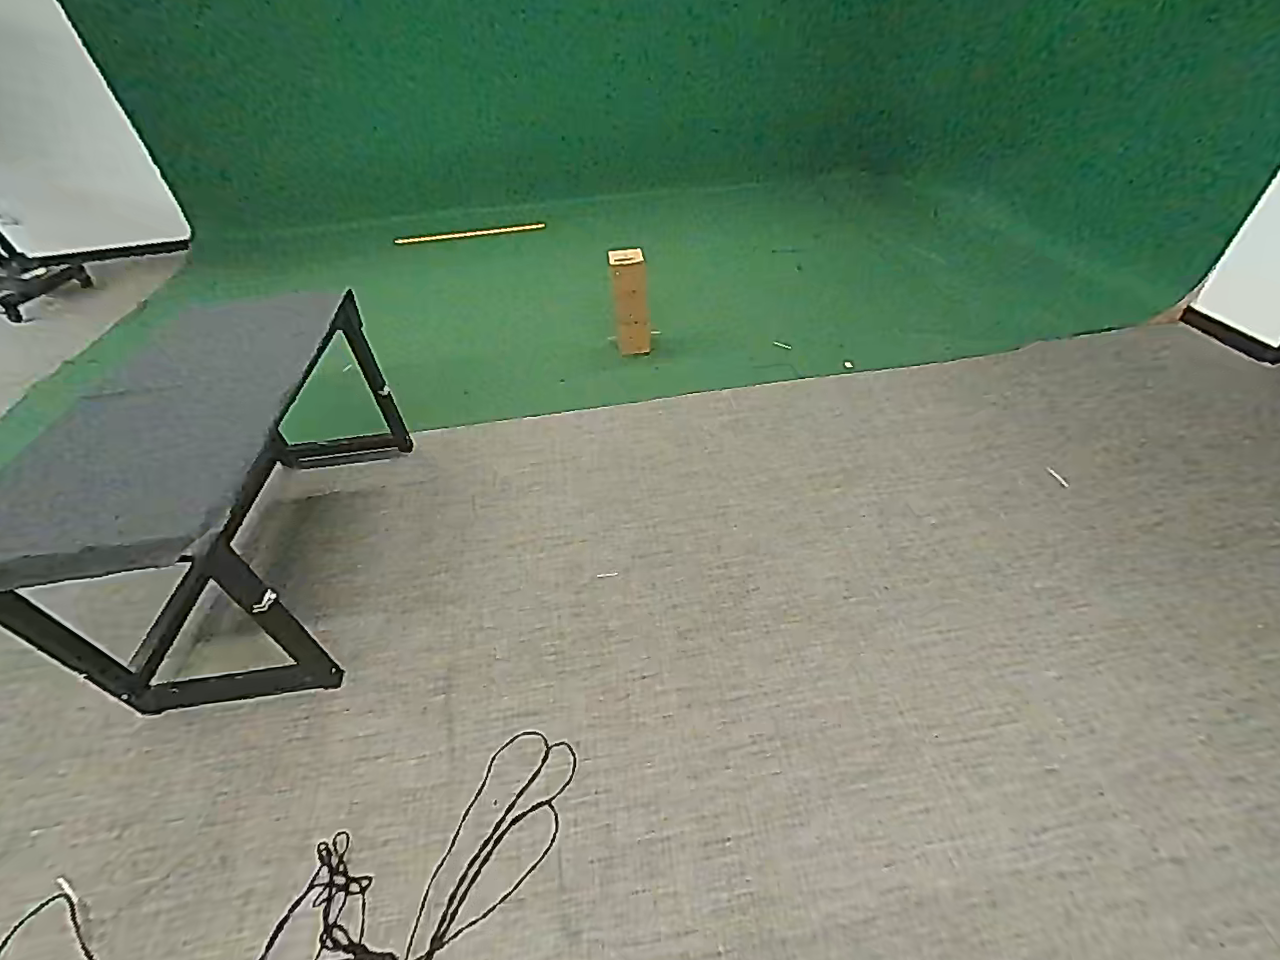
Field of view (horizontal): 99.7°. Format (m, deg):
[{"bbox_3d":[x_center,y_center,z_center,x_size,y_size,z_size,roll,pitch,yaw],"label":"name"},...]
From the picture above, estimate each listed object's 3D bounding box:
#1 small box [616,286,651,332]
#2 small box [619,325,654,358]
[{"bbox_3d":[-0.036,-0.900,2.850,0.168,0.176,0.179,-8,42,0],"label":"small box"},{"bbox_3d":[-0.019,-0.778,2.962,0.168,0.176,0.179,-9,42,-2],"label":"small box"}]
